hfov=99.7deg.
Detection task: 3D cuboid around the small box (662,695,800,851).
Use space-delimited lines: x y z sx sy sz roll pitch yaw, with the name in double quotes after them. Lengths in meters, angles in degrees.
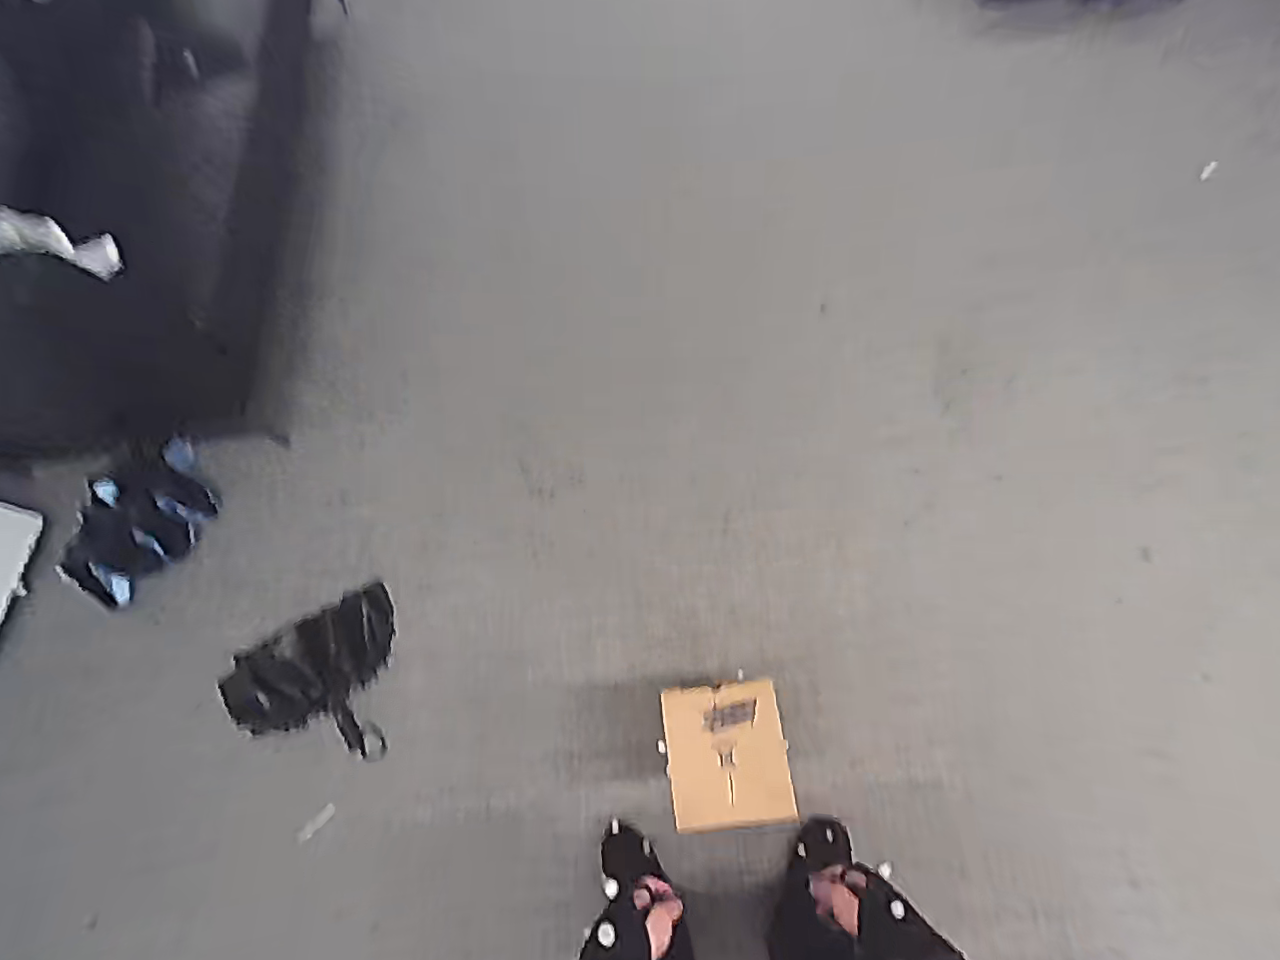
0.125 0.422 0.808 0.168 0.176 0.179 -8 70 2 "small box"
